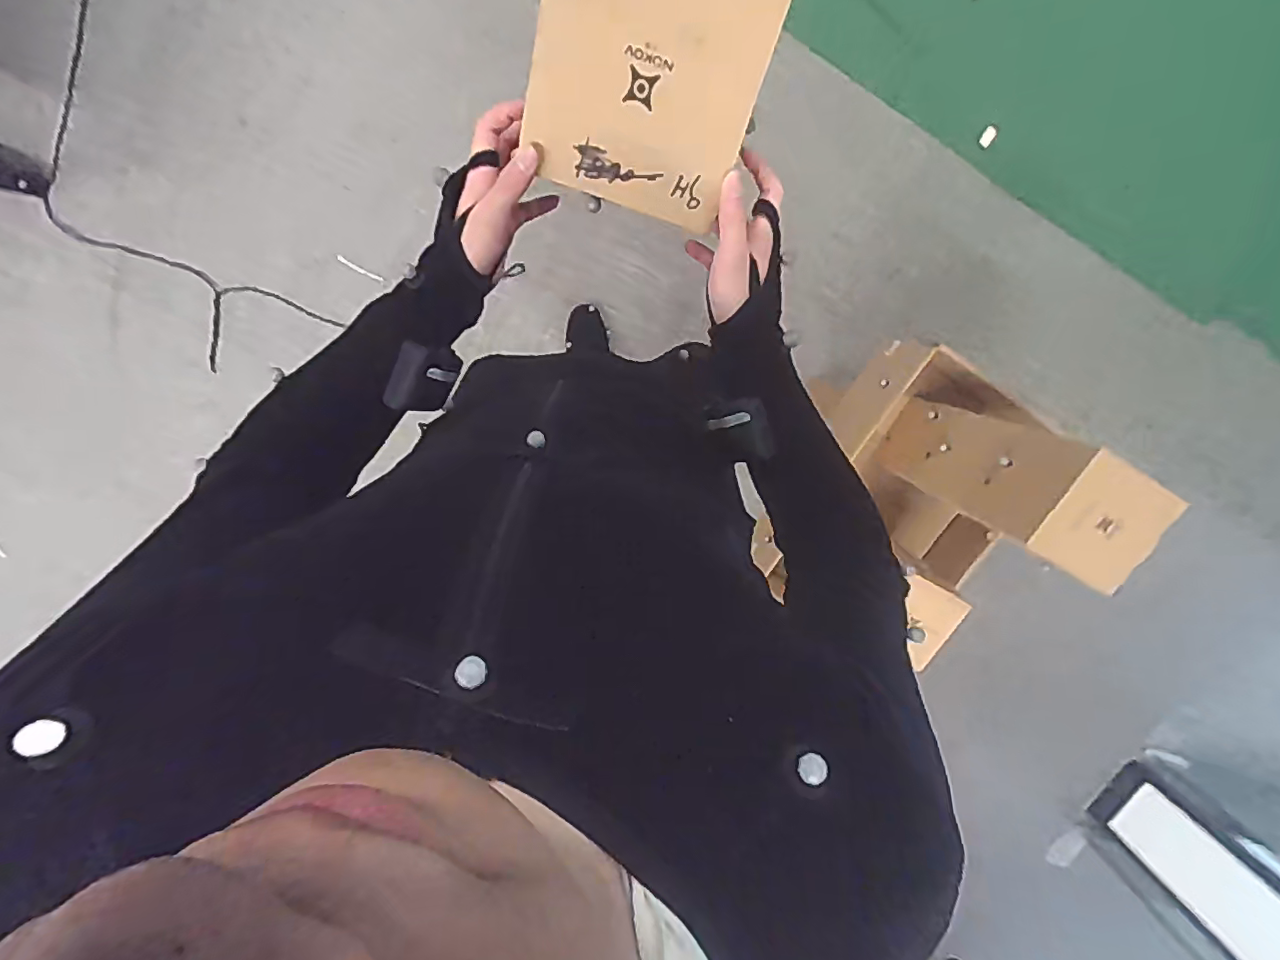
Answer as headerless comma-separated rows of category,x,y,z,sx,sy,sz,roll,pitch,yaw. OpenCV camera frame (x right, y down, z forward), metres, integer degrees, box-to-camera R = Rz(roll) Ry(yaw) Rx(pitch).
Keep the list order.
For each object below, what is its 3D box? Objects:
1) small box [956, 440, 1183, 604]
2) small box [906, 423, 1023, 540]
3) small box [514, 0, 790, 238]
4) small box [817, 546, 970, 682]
small box,0.648,0.055,0.837,0.179,0.176,0.168,29,102,-11
small box,0.641,0.010,0.994,0.179,0.176,0.168,28,102,-10
small box,0.007,-0.331,0.458,0.168,0.176,0.179,16,121,-6
small box,0.480,0.251,1.056,0.179,0.176,0.168,28,103,-10
